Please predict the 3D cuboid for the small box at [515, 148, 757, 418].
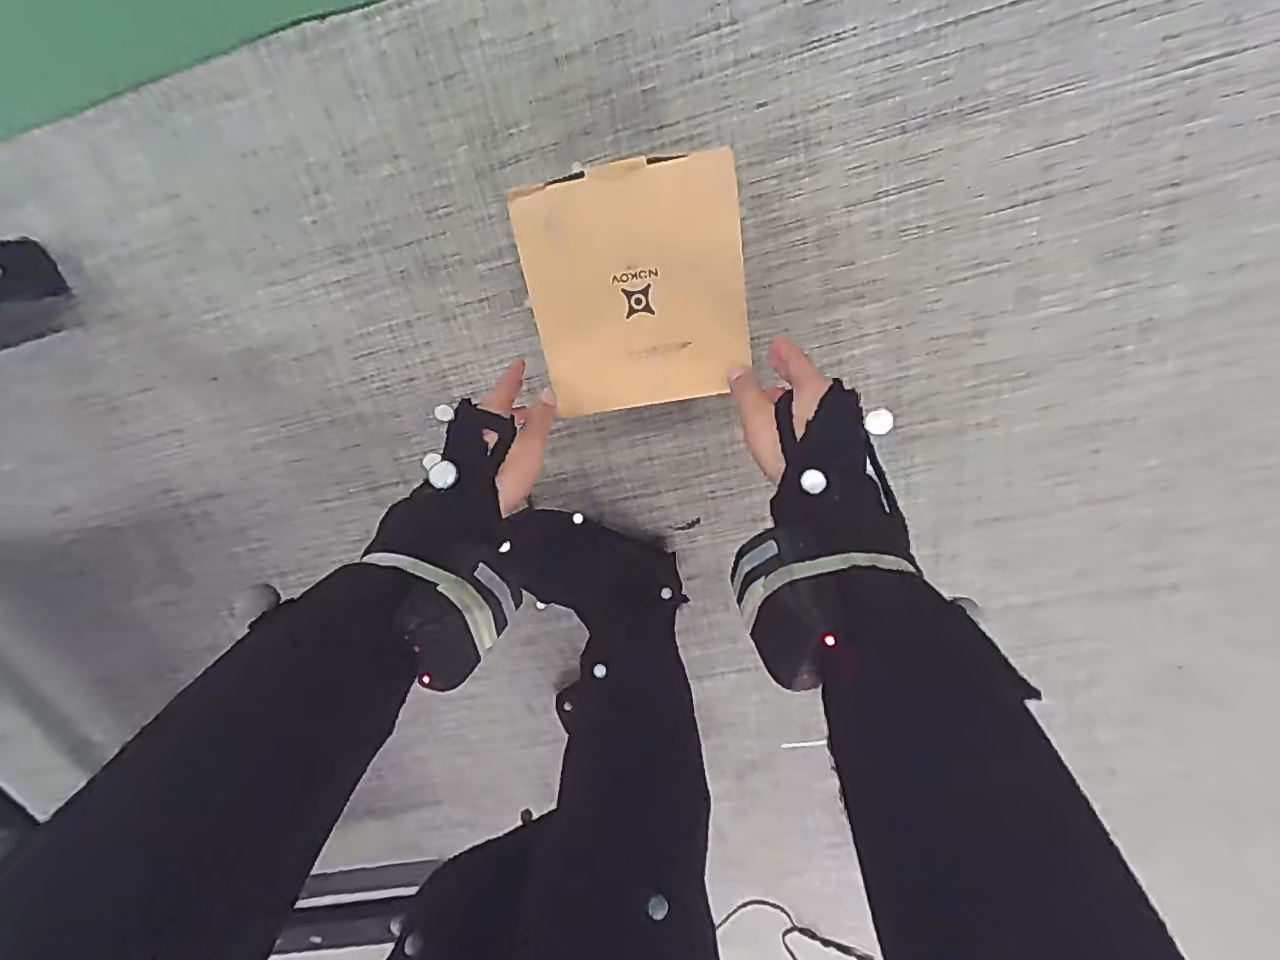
[{"bbox_3d":[0.005,-0.175,0.488,0.168,0.176,0.179,-8,116,7],"label":"small box"}]
